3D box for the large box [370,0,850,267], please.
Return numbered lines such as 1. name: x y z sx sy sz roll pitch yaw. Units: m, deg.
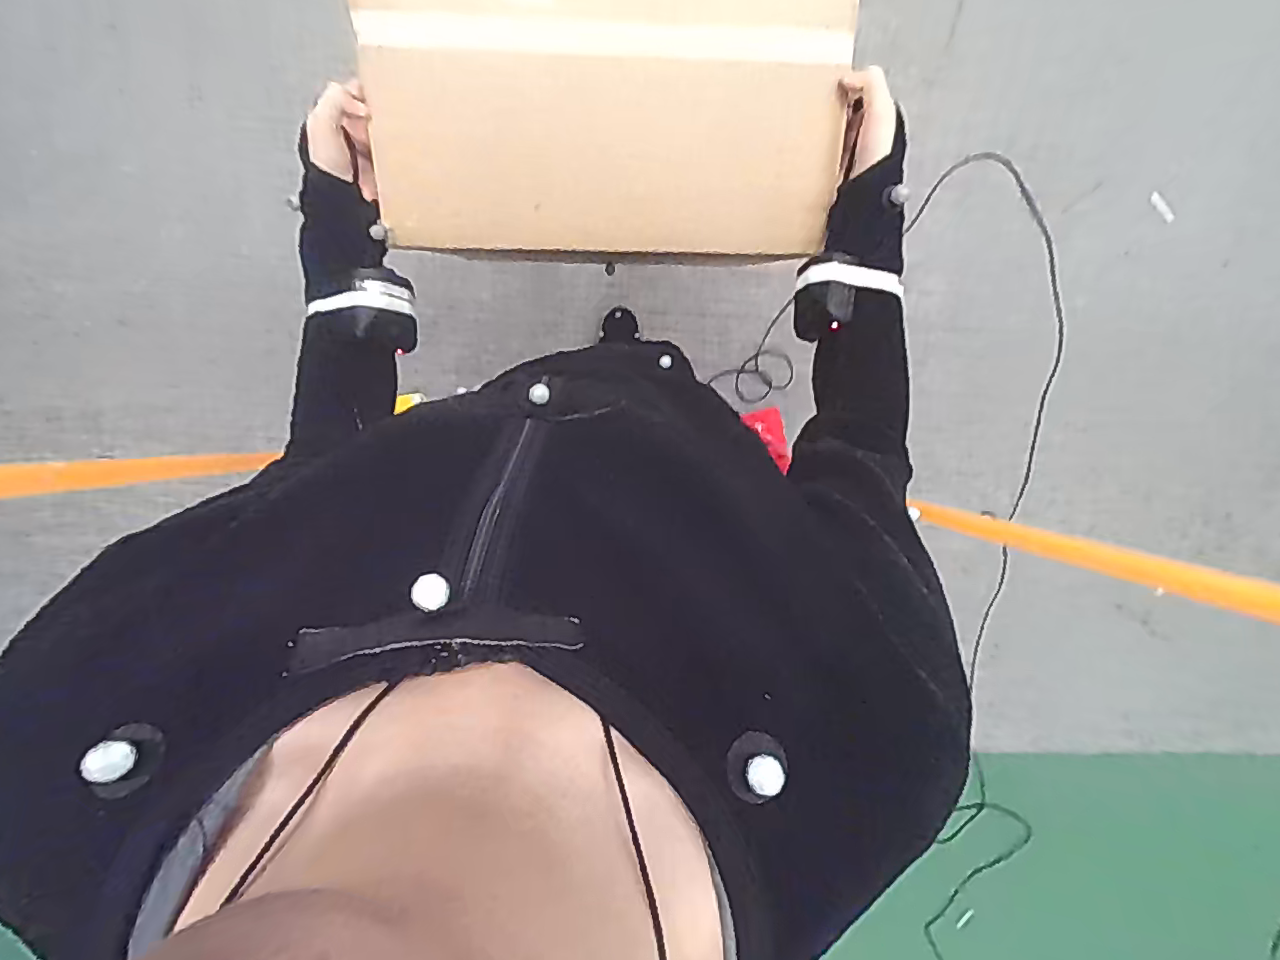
1. large box: -0.027 -0.406 0.599 0.408 0.320 0.320 -1 108 -3
